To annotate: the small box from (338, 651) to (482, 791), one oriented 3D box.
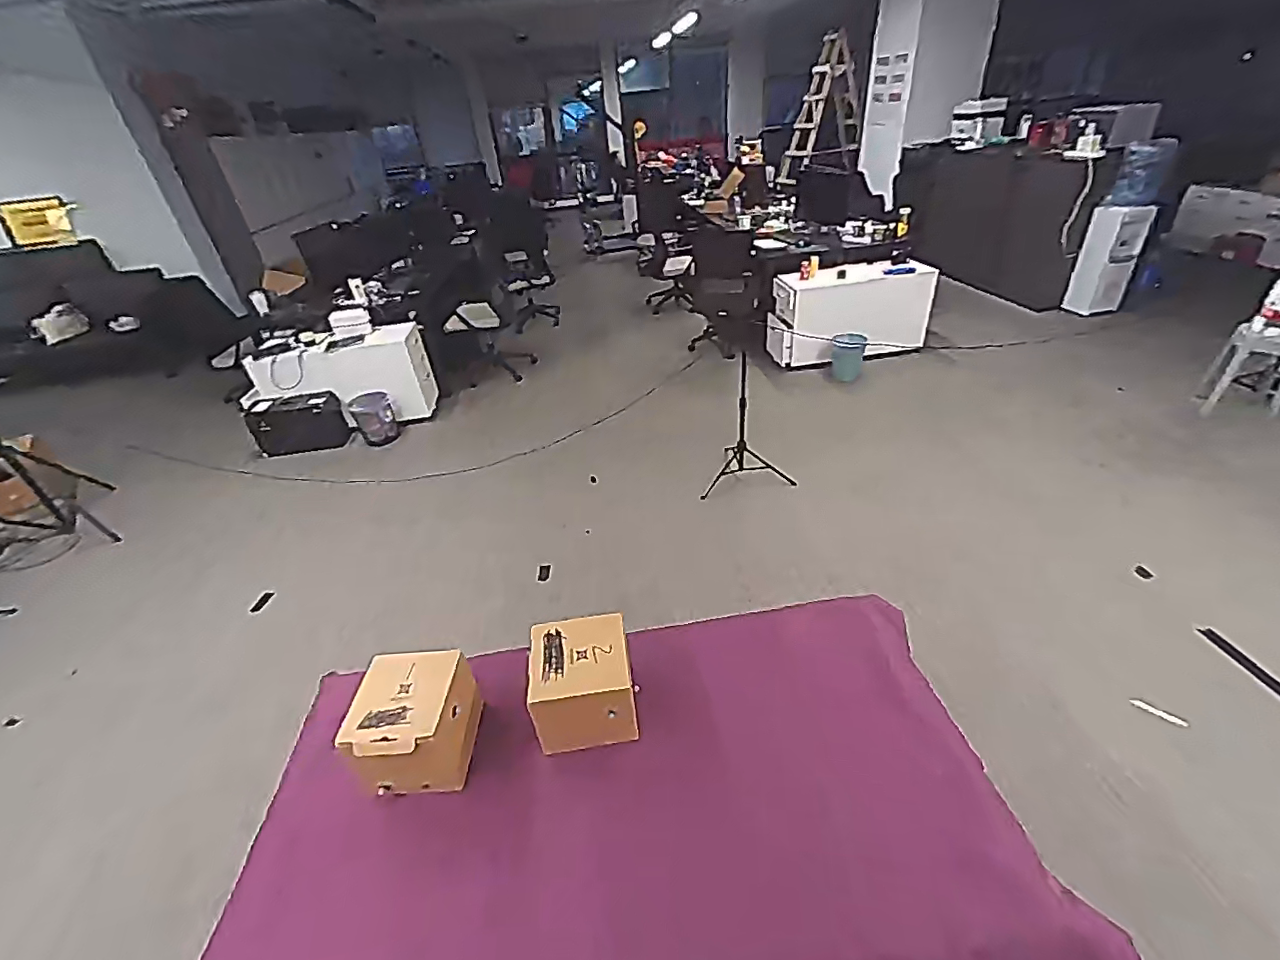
[{"bbox_3d":[-0.396,0.435,0.970,0.168,0.176,0.179,-4,34,2],"label":"small box"}]
